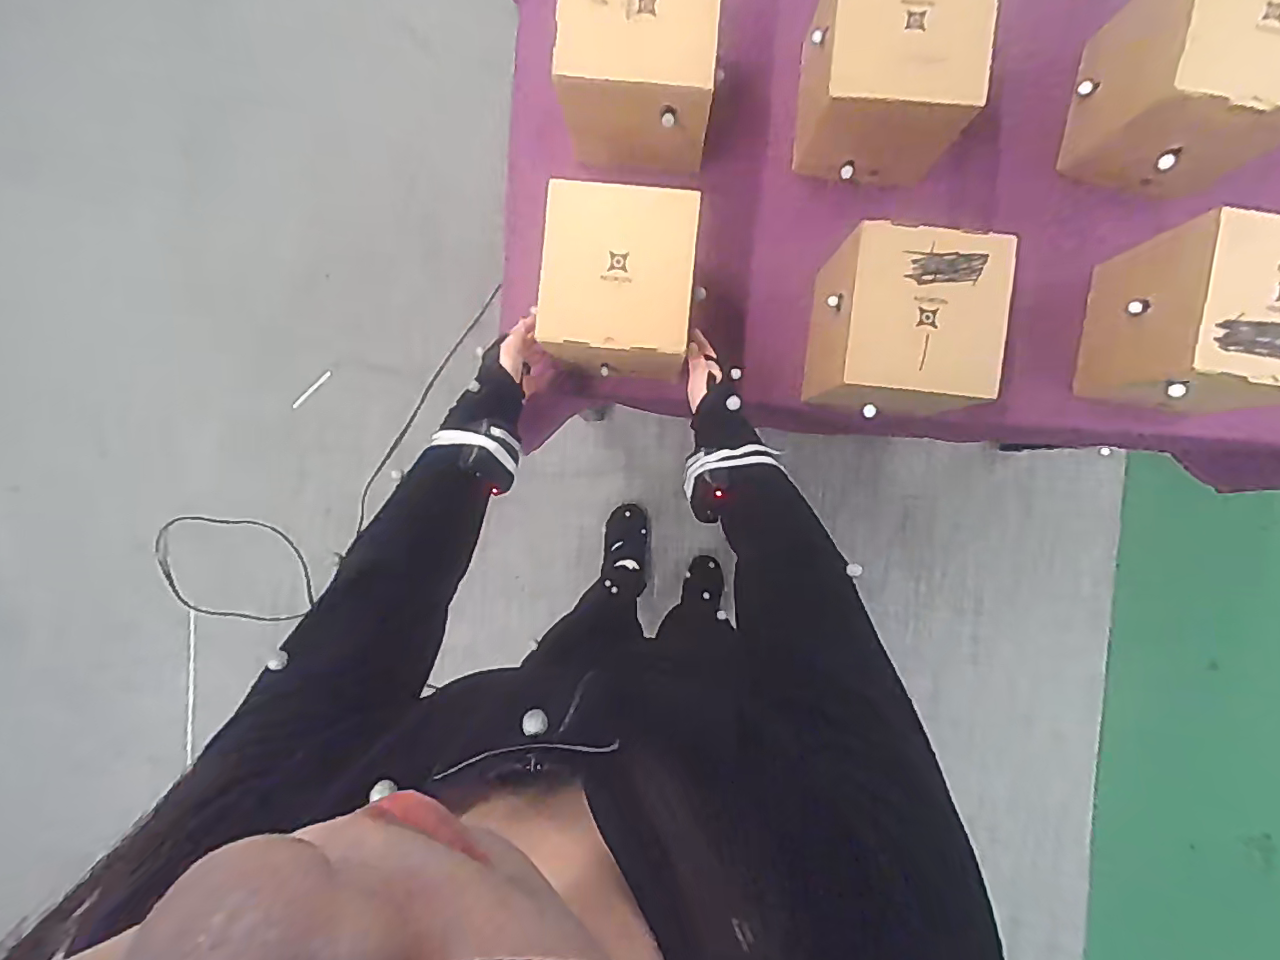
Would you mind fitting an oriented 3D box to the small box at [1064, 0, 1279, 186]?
[{"bbox_3d":[0.645,-0.476,0.628,0.168,0.176,0.179,11,93,1],"label":"small box"}]

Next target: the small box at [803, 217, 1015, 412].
[{"bbox_3d":[0.305,-0.184,0.649,0.168,0.176,0.179,6,92,2],"label":"small box"}]

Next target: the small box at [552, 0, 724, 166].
[{"bbox_3d":[0.002,-0.506,0.650,0.179,0.176,0.168,6,92,2],"label":"small box"}]

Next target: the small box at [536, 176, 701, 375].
[{"bbox_3d":[-0.023,-0.235,0.660,0.168,0.176,0.179,5,92,1],"label":"small box"}]
